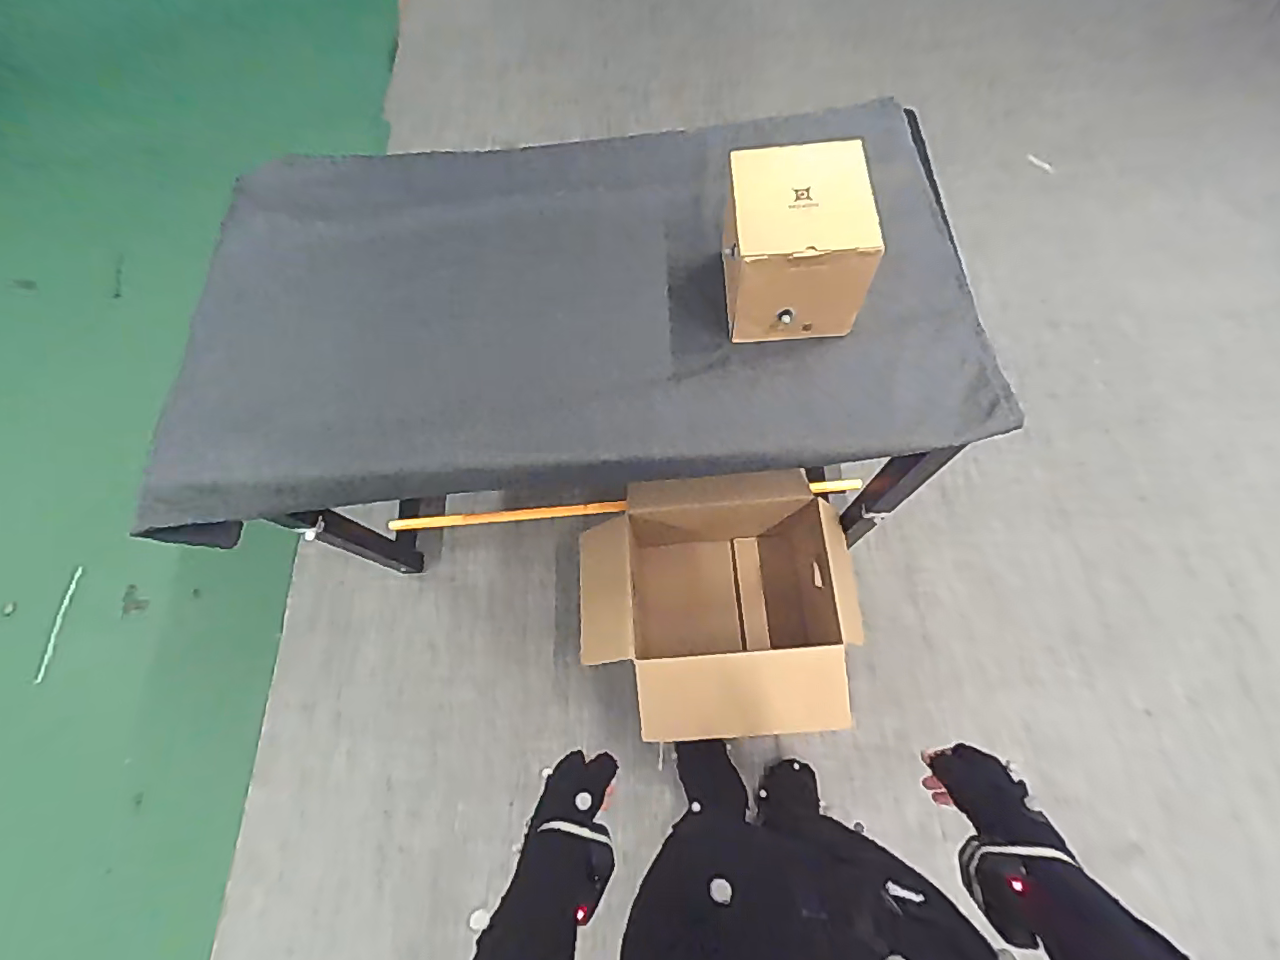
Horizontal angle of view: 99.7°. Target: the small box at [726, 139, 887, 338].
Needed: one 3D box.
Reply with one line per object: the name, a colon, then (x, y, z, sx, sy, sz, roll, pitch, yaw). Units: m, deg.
small box: (0.207, -0.315, 0.726, 0.168, 0.176, 0.179, -3, 69, 5)
